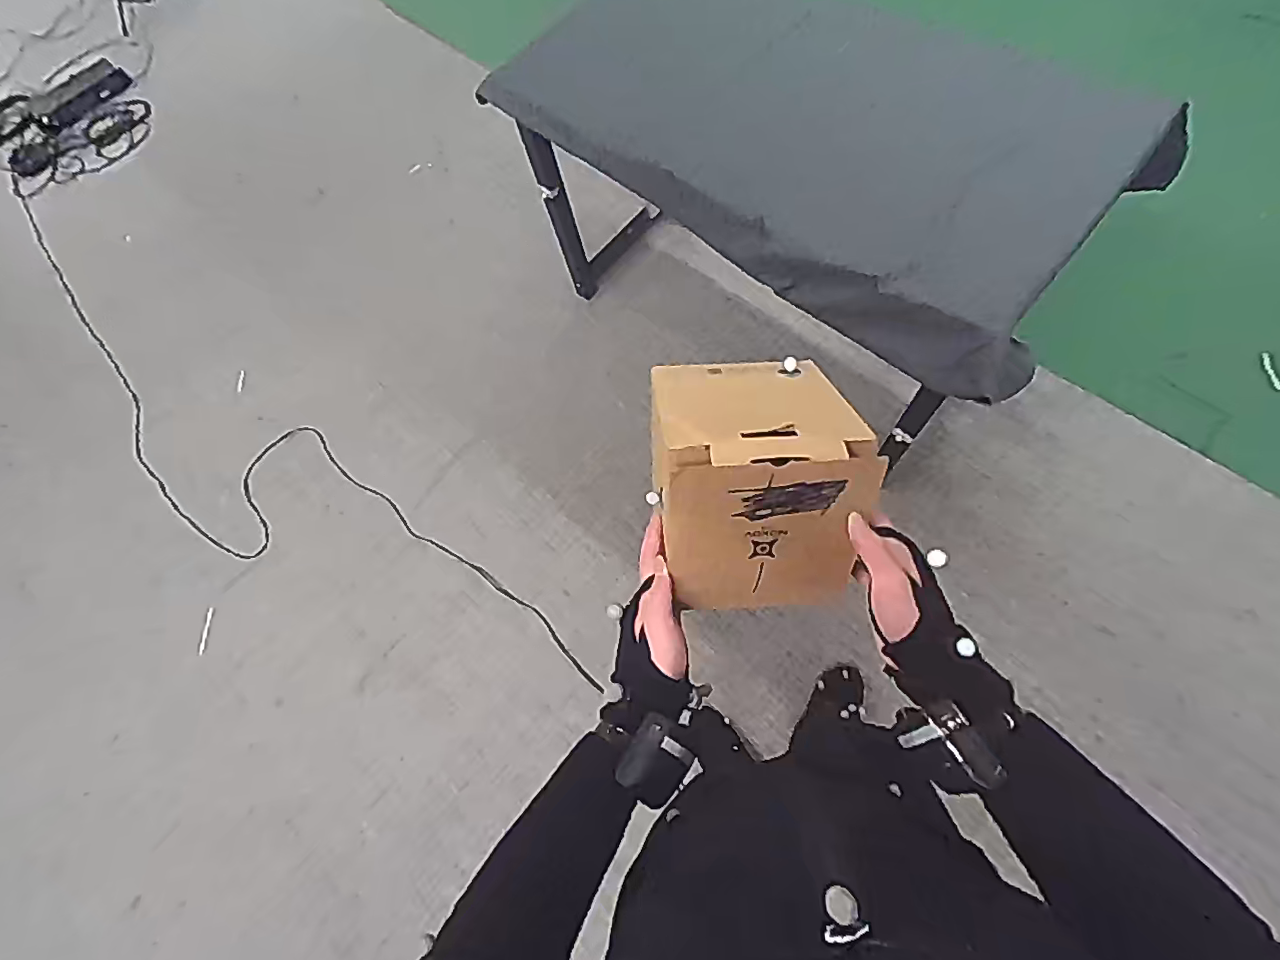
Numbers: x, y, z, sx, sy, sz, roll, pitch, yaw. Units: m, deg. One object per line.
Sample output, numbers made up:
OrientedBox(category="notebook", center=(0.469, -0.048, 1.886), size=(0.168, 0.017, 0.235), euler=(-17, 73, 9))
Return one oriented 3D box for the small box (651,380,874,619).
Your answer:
OrientedBox(category="small box", center=(0.099, 0.009, 0.530), size=(0.168, 0.179, 0.176), euler=(-3, 34, -2))
